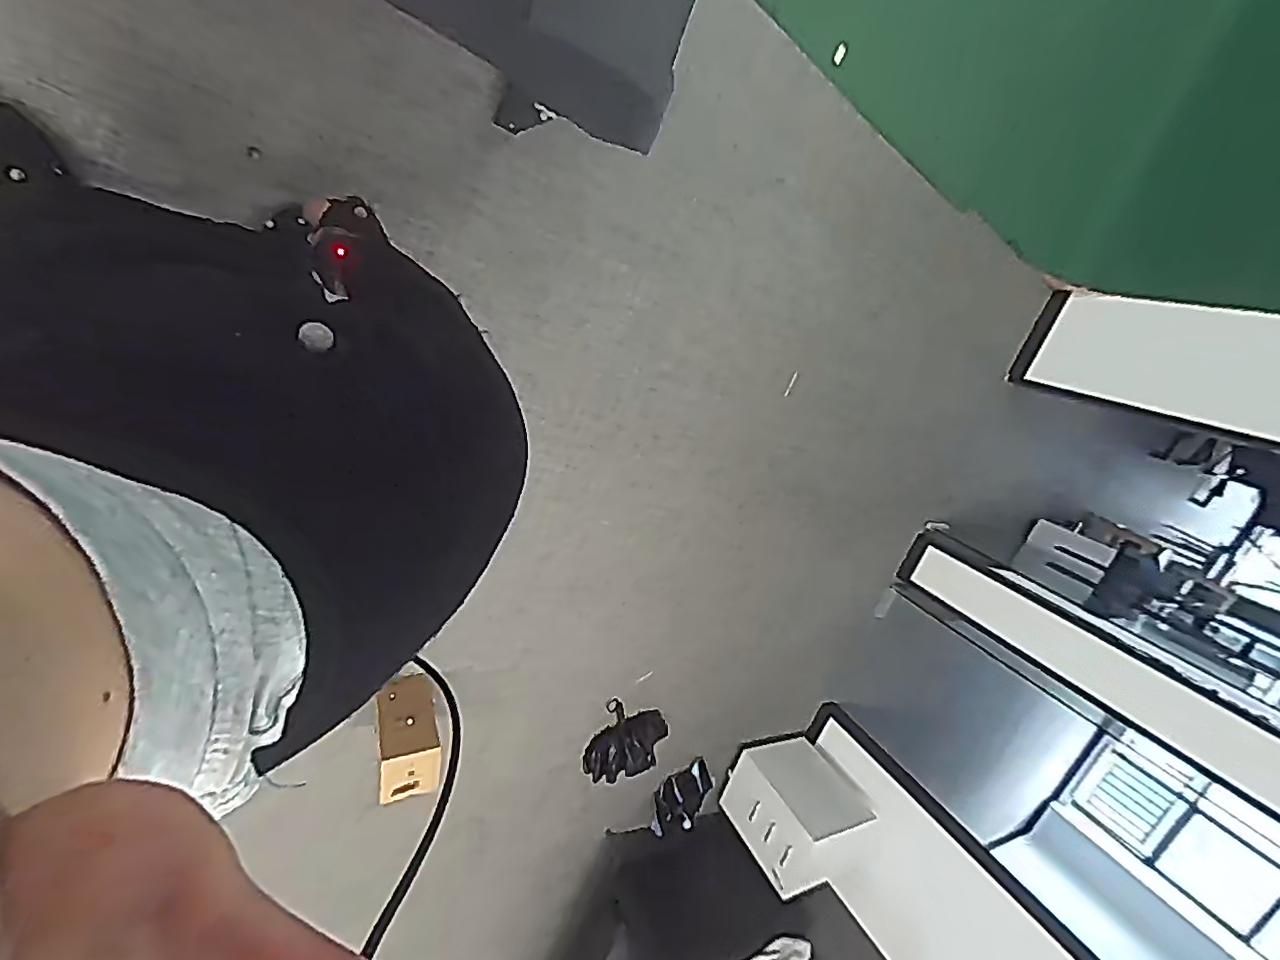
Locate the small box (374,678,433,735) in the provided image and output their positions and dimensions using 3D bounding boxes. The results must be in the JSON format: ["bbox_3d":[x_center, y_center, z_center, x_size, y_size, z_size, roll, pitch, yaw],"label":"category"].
[{"bbox_3d":[-0.787,0.779,1.789,0.168,0.176,0.179,-2,116,-29],"label":"small box"}]

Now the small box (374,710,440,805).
[{"bbox_3d":[-0.717,0.843,1.655,0.168,0.176,0.179,-1,113,-29],"label":"small box"}]
